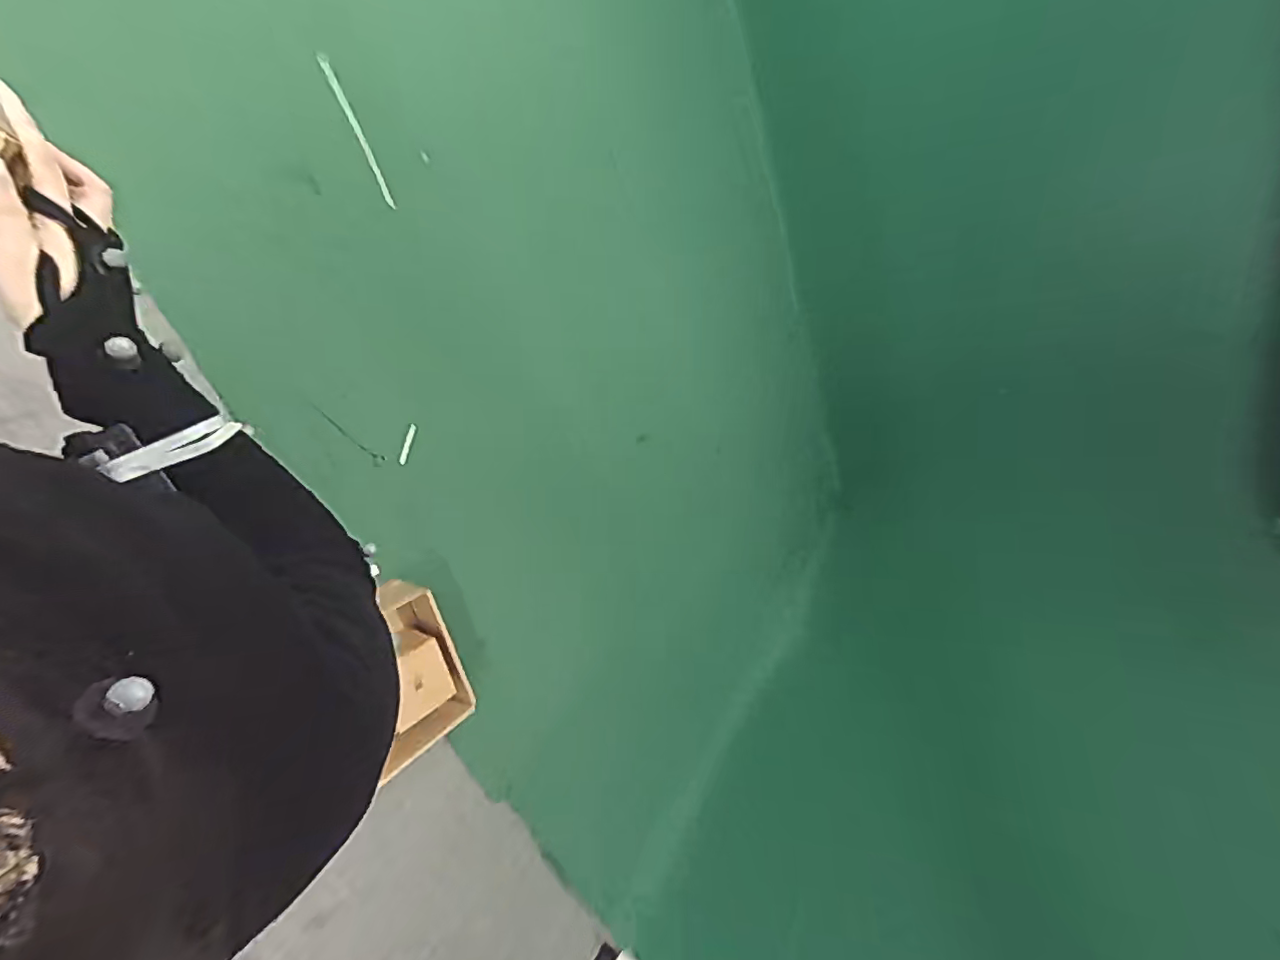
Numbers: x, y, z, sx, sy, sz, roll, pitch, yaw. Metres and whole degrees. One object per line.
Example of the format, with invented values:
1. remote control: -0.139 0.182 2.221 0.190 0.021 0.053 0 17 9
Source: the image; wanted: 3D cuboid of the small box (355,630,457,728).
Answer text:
1. small box: -0.625 0.516 1.437 0.168 0.176 0.179 -28 111 -43
